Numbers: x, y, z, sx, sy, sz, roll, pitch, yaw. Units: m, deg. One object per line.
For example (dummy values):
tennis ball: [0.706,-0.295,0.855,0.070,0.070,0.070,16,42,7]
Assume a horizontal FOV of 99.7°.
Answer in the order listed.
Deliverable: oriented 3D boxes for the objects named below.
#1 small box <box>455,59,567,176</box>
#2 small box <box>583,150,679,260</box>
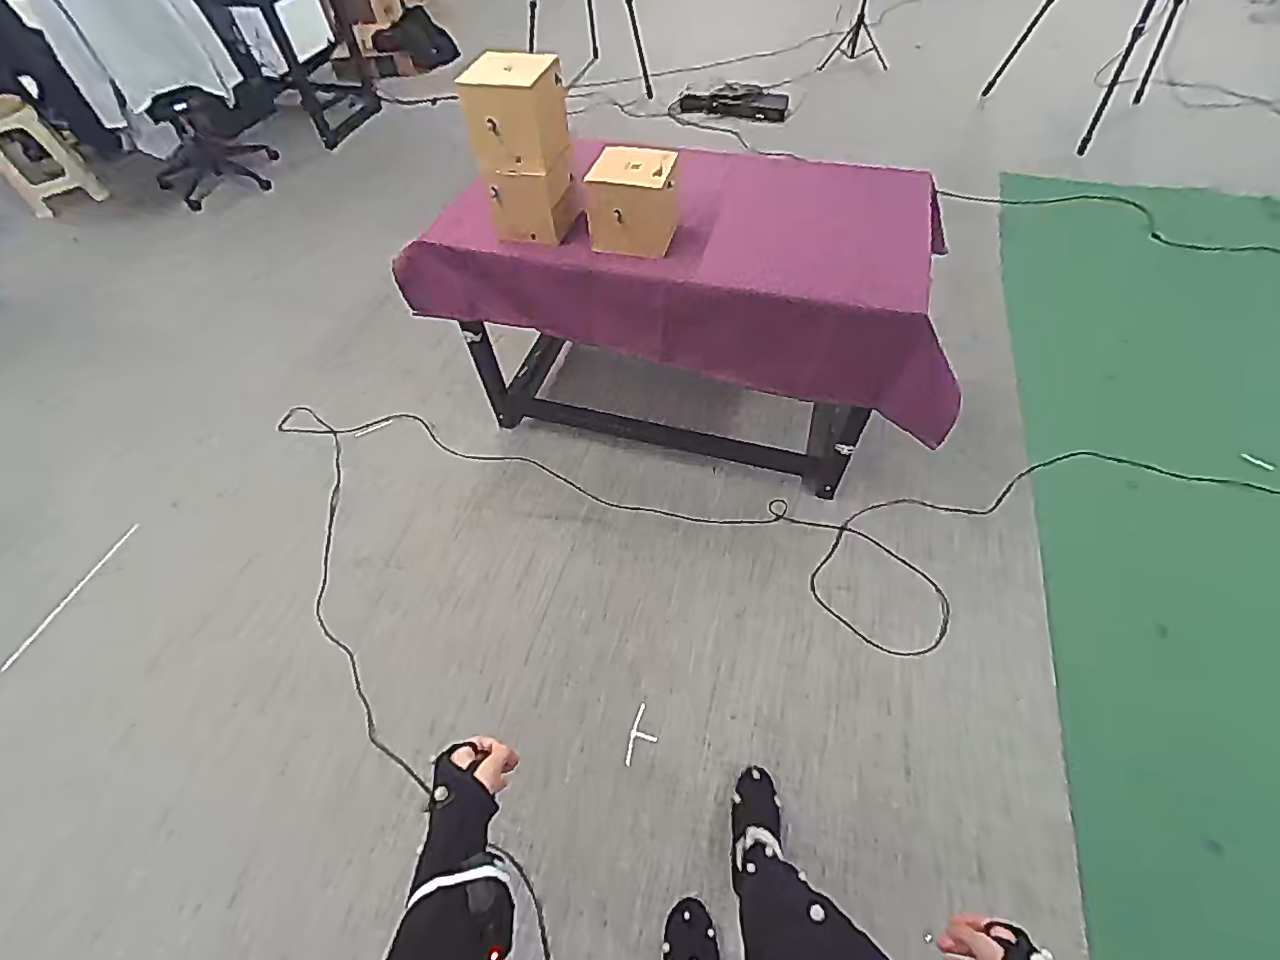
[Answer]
small box: [-0.269,-0.786,1.177,0.168,0.176,0.179,9,54,10]
small box: [-0.014,-0.634,1.251,0.179,0.176,0.168,11,57,12]
